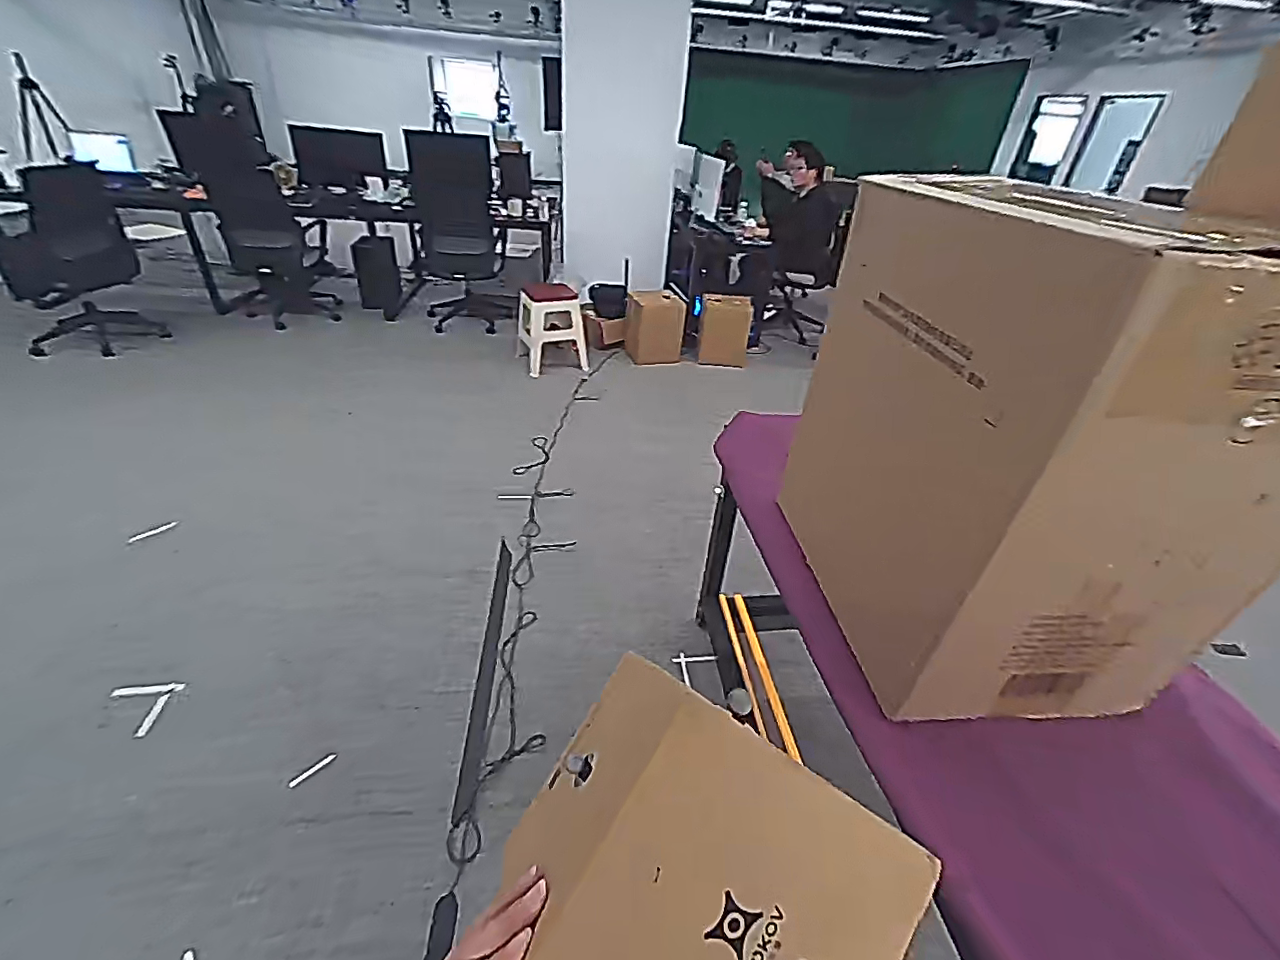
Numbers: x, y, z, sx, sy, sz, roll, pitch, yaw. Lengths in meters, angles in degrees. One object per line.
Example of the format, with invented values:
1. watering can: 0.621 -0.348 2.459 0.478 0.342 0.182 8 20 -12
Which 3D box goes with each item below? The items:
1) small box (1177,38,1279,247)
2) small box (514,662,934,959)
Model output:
1. small box: 0.681 -0.300 0.494 0.168 0.176 0.179 -2 33 -11
2. small box: 0.033 0.236 0.348 0.179 0.176 0.168 36 75 -5
